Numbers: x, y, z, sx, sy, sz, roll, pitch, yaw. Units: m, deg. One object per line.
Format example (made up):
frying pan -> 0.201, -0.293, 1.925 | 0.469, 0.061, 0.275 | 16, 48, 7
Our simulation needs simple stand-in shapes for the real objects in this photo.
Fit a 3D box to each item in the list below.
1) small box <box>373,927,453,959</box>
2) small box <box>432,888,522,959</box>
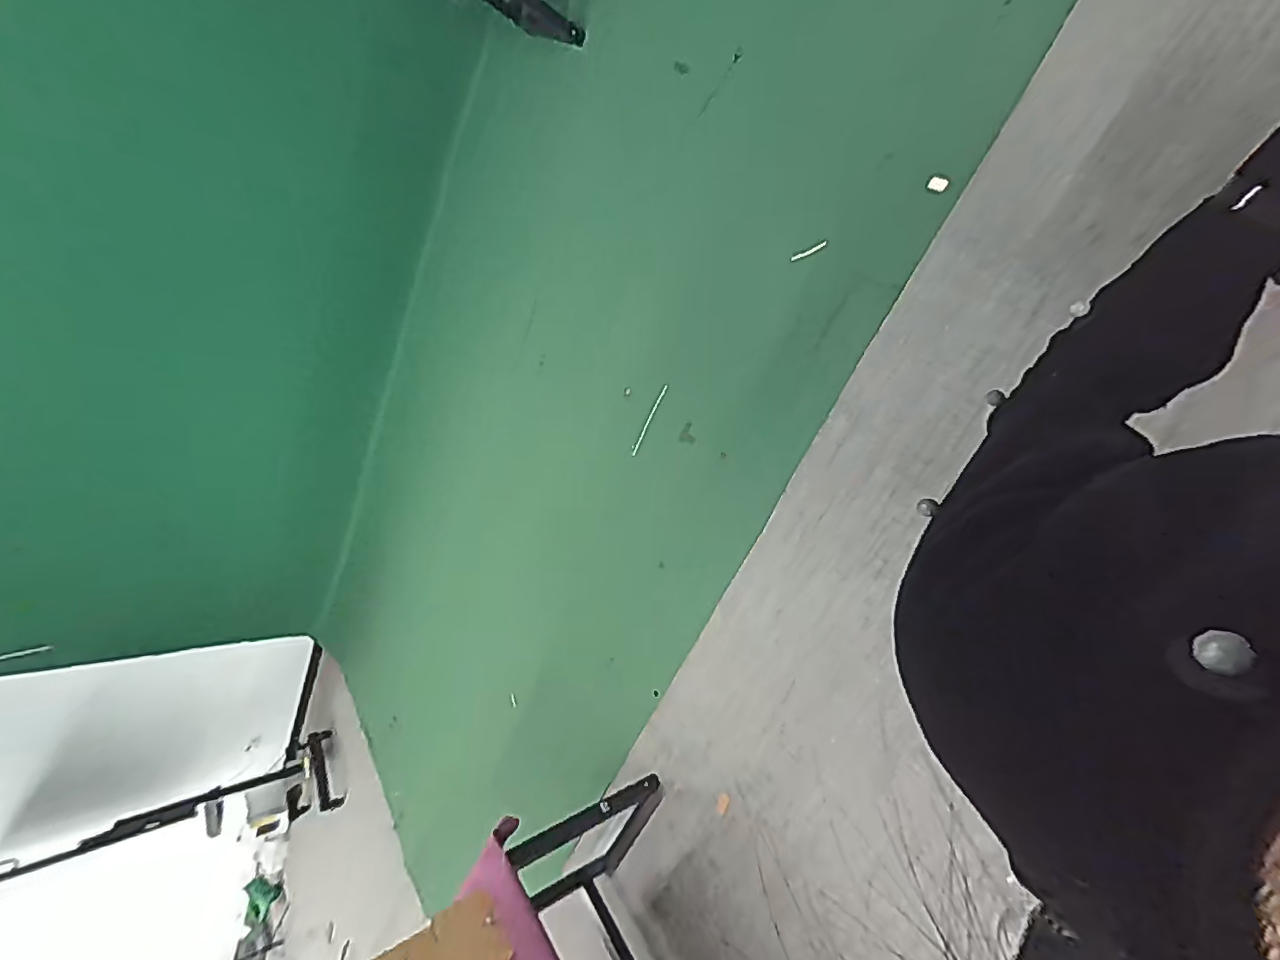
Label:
small box -> -0.549, 1.229, 1.297 | 0.179, 0.176, 0.168 | 45, 118, 35
small box -> -0.438, 1.222, 1.418 | 0.179, 0.176, 0.168 | 39, 114, 39
